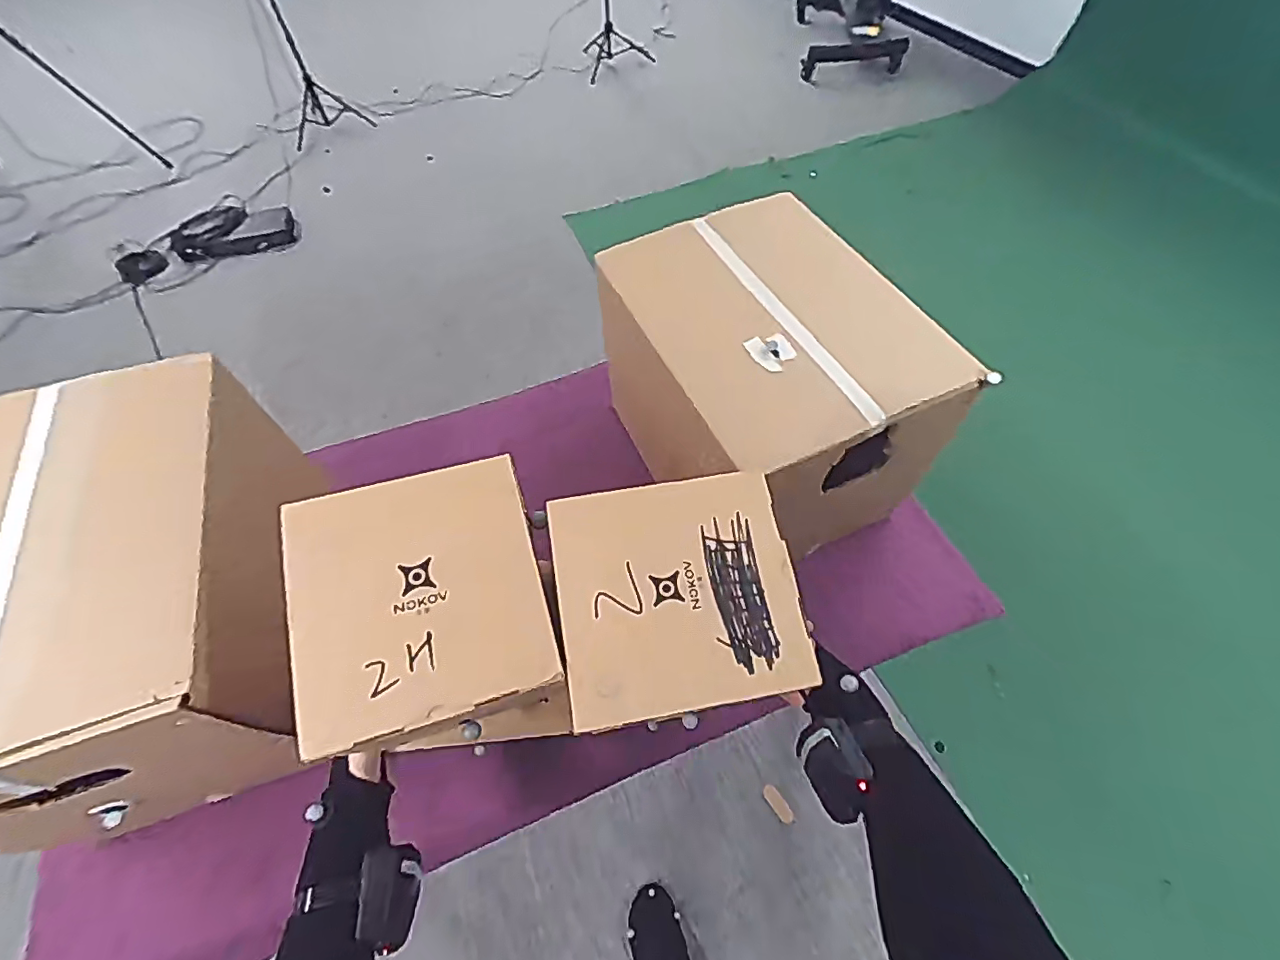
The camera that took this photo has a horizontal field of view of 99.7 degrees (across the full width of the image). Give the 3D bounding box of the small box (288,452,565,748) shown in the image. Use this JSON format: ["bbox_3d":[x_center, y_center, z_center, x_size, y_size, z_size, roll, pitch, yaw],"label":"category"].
[{"bbox_3d":[-0.161,0.103,0.446,0.168,0.176,0.179,-13,68,-12],"label":"small box"}]

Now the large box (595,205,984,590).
[{"bbox_3d":[0.163,-0.120,0.787,0.320,0.320,0.408,-23,60,-11],"label":"large box"}]
